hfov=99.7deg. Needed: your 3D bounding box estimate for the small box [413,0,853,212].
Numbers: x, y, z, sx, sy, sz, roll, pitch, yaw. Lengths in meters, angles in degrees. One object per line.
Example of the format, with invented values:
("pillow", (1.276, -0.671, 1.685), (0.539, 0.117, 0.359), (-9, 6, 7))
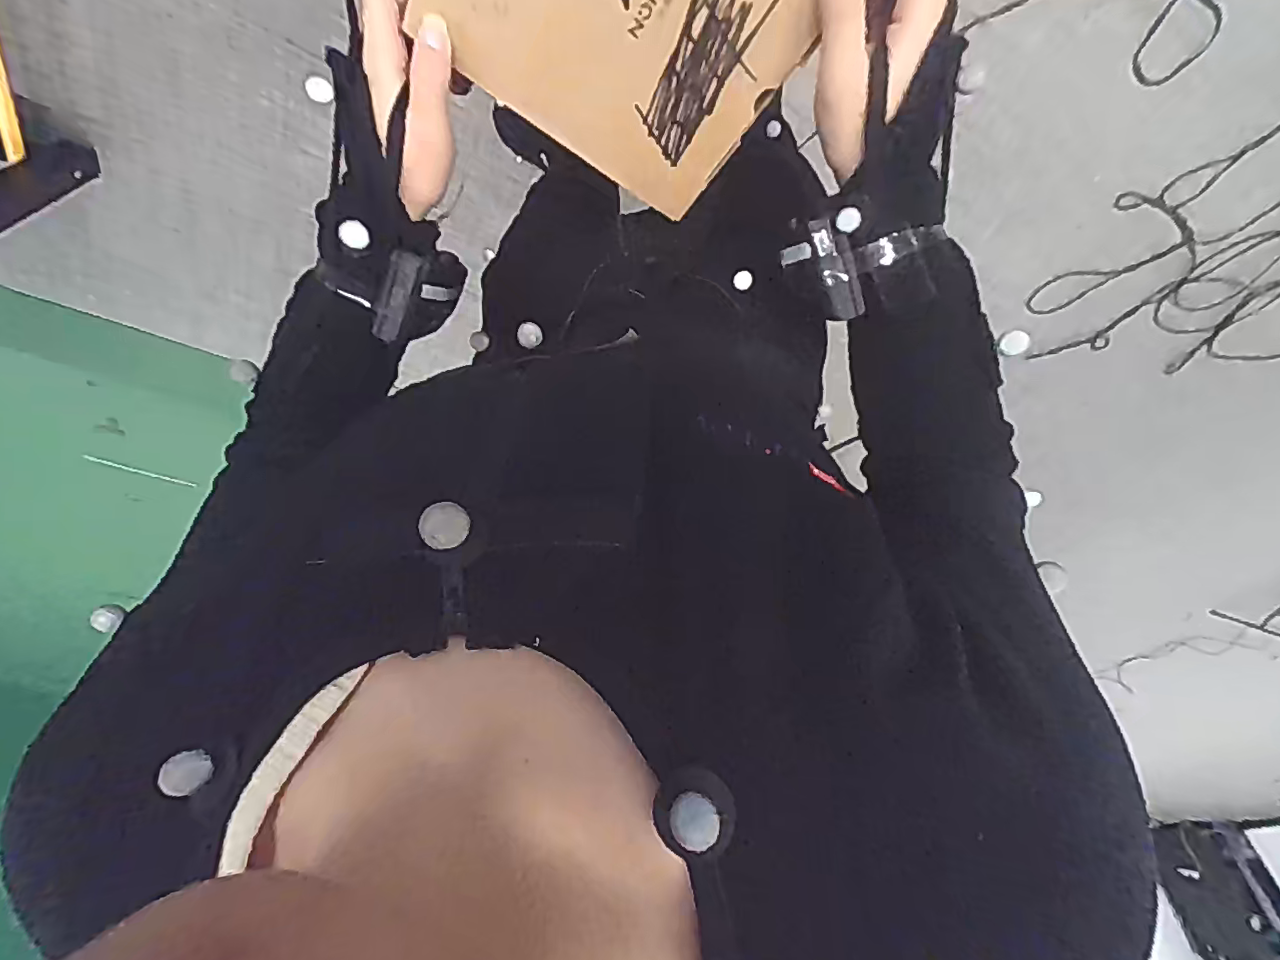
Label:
("small box", (0.006, -0.303, 0.301), (0.179, 0.176, 0.168), (24, 141, -25))
